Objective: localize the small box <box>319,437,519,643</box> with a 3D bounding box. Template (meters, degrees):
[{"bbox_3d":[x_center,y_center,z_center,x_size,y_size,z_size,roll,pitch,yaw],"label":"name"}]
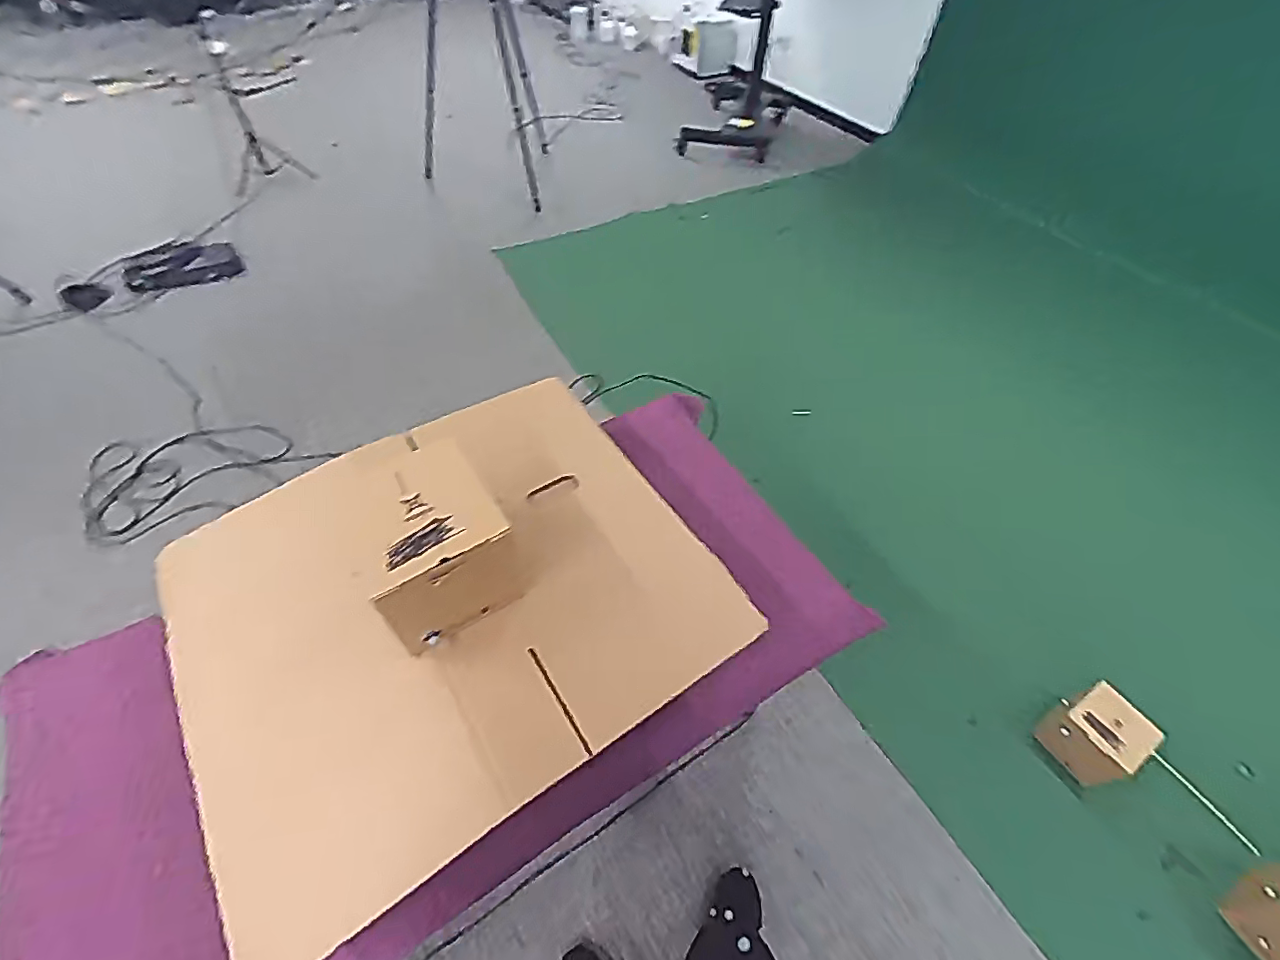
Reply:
[{"bbox_3d":[-0.269,0.084,0.690,0.168,0.176,0.179,-27,58,-24],"label":"small box"}]

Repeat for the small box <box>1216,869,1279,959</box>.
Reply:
[{"bbox_3d":[1.484,1.006,1.217,0.179,0.176,0.168,-22,57,-18],"label":"small box"}]
